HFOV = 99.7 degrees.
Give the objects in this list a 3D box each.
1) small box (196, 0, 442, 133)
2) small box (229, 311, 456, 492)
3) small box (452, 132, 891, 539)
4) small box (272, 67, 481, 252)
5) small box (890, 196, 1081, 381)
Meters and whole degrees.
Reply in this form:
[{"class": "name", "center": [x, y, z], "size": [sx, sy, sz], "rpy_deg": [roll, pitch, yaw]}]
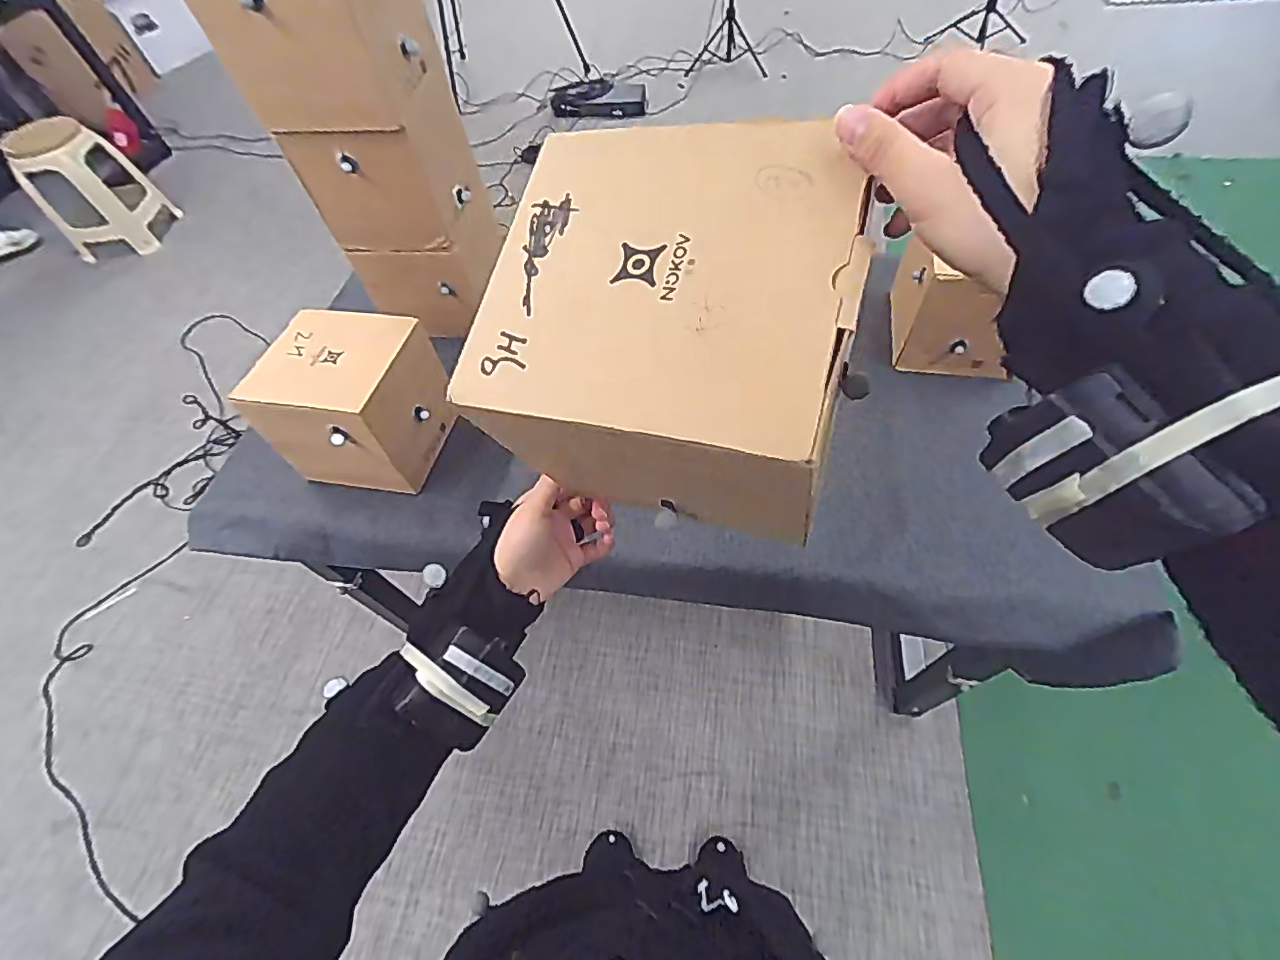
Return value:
[{"class": "small box", "center": [-0.354, -0.514, 0.602], "size": [0.179, 0.176, 0.168], "rpy_deg": [4, 60, 6]}, {"class": "small box", "center": [-0.374, -0.100, 0.723], "size": [0.179, 0.176, 0.168], "rpy_deg": [7, 55, 9]}, {"class": "small box", "center": [0.031, -0.070, 0.326], "size": [0.179, 0.176, 0.168], "rpy_deg": [12, 76, 19]}, {"class": "small box", "center": [-0.344, -0.436, 0.747], "size": [0.179, 0.176, 0.168], "rpy_deg": [2, 60, 5]}, {"class": "small box", "center": [0.460, -0.265, 0.756], "size": [0.168, 0.176, 0.179], "rpy_deg": [7, 60, 10]}]
